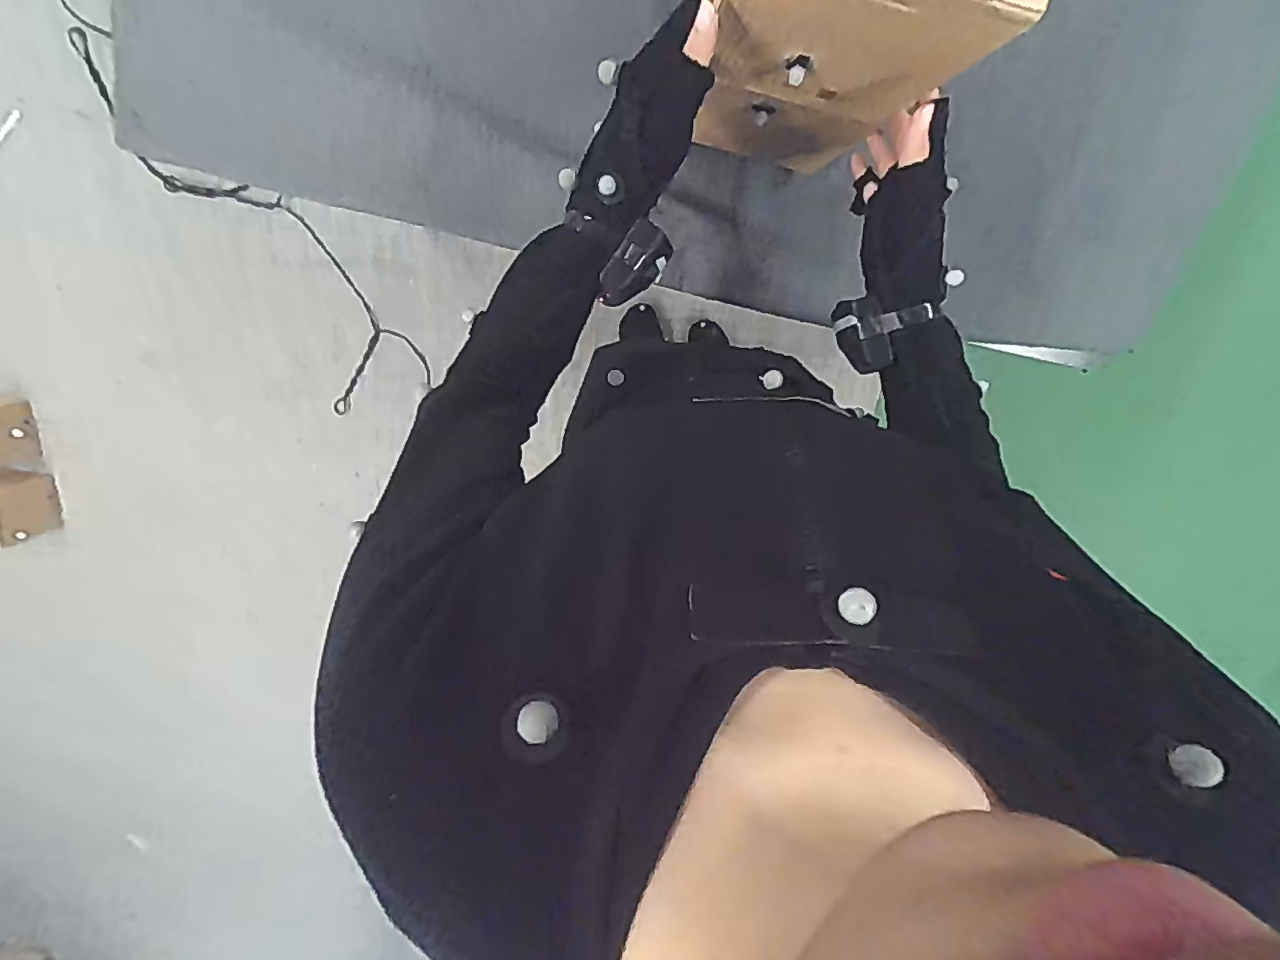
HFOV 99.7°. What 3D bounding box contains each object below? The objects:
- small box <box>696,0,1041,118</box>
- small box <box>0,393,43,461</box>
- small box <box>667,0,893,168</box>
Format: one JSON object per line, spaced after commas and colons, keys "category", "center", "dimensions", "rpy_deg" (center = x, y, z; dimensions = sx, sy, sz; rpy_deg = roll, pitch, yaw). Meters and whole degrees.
{"category": "small box", "center": [0.140, -0.364, 0.332], "dimensions": [0.168, 0.176, 0.179], "rpy_deg": [9, 106, -8]}
{"category": "small box", "center": [-1.785, -0.141, 1.447], "dimensions": [0.179, 0.176, 0.168], "rpy_deg": [8, 110, -1]}
{"category": "small box", "center": [0.130, -0.407, 0.488], "dimensions": [0.179, 0.176, 0.168], "rpy_deg": [10, 105, -9]}
